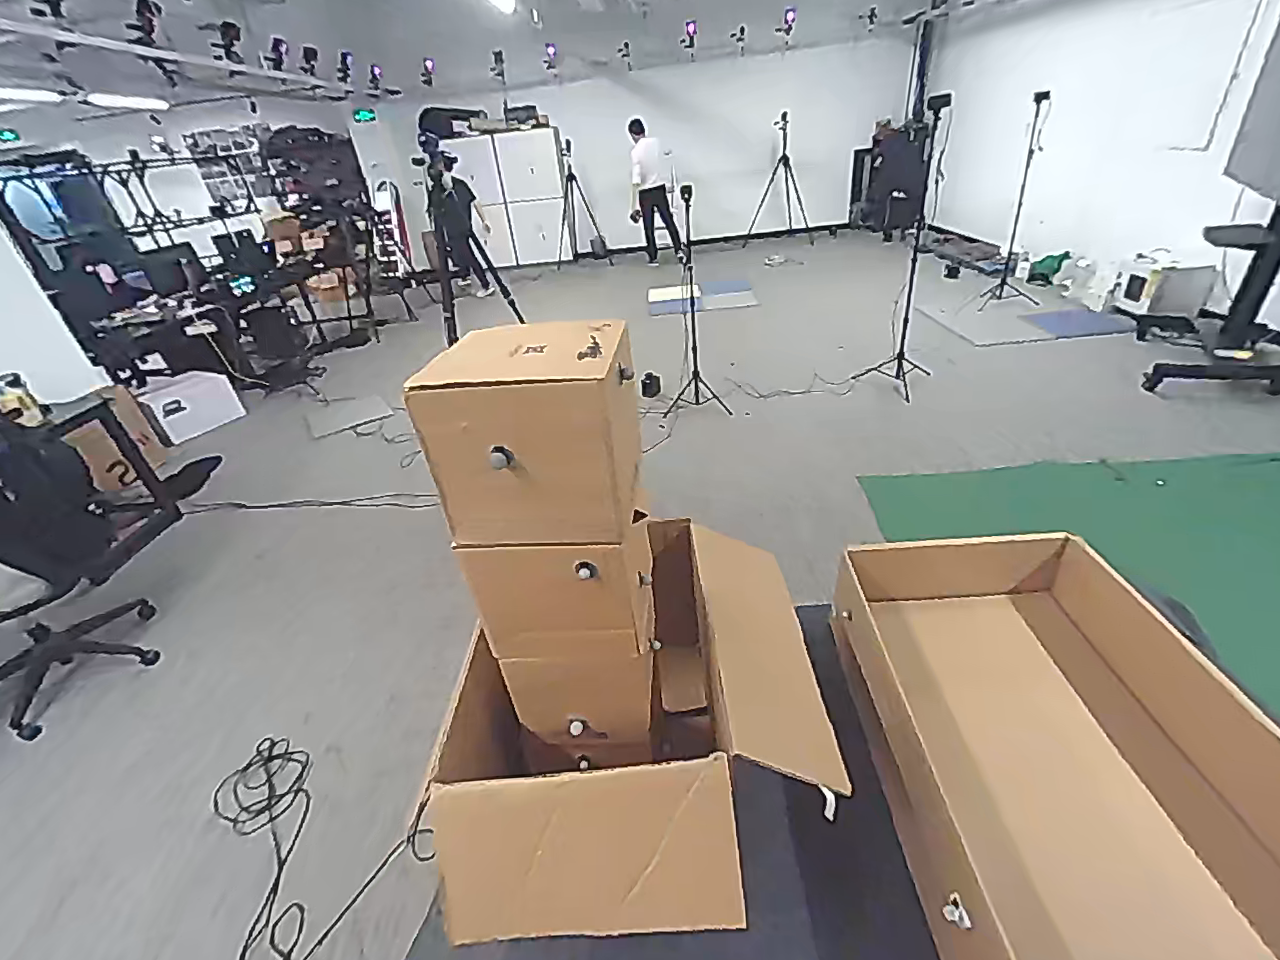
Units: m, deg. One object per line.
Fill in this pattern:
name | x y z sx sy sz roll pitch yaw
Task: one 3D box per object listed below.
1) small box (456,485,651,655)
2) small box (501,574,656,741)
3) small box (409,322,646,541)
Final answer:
small box | -0.086 0.088 0.640 0.179 0.176 0.168 -2 33 7
small box | -0.069 0.222 0.729 0.168 0.176 0.179 -2 34 6
small box | -0.094 -0.050 0.551 0.179 0.176 0.168 -2 33 7
